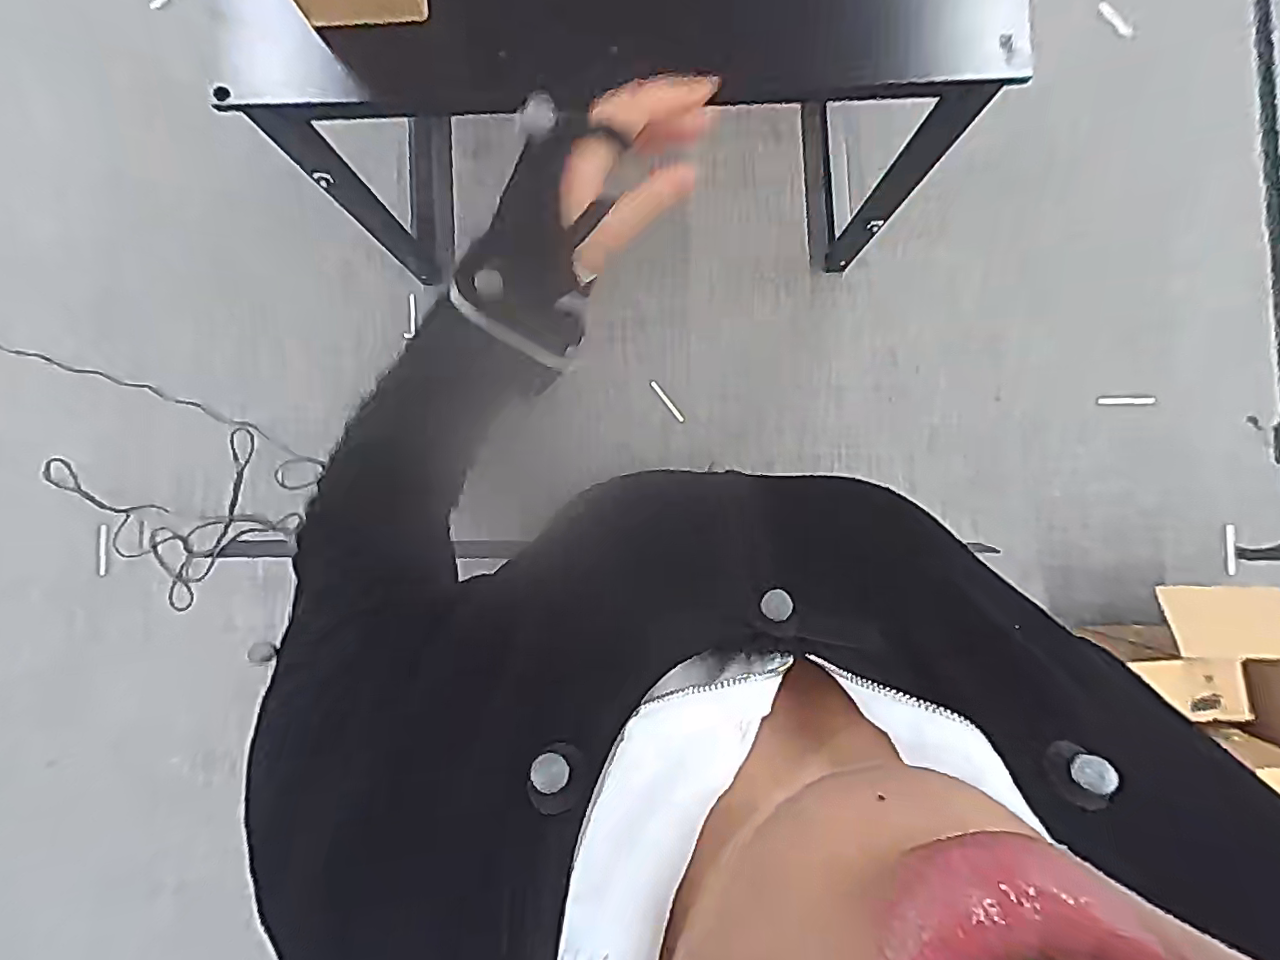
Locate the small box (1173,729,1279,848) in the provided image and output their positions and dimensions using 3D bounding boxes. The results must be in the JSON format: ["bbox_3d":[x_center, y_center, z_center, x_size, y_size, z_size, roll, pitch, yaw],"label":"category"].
[{"bbox_3d":[1.349,0.683,1.208,0.168,0.176,0.179,1,89,-1],"label":"small box"}]

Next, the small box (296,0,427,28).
[{"bbox_3d":[-0.408,-0.757,0.727,0.179,0.176,0.168,-4,88,1],"label":"small box"}]
